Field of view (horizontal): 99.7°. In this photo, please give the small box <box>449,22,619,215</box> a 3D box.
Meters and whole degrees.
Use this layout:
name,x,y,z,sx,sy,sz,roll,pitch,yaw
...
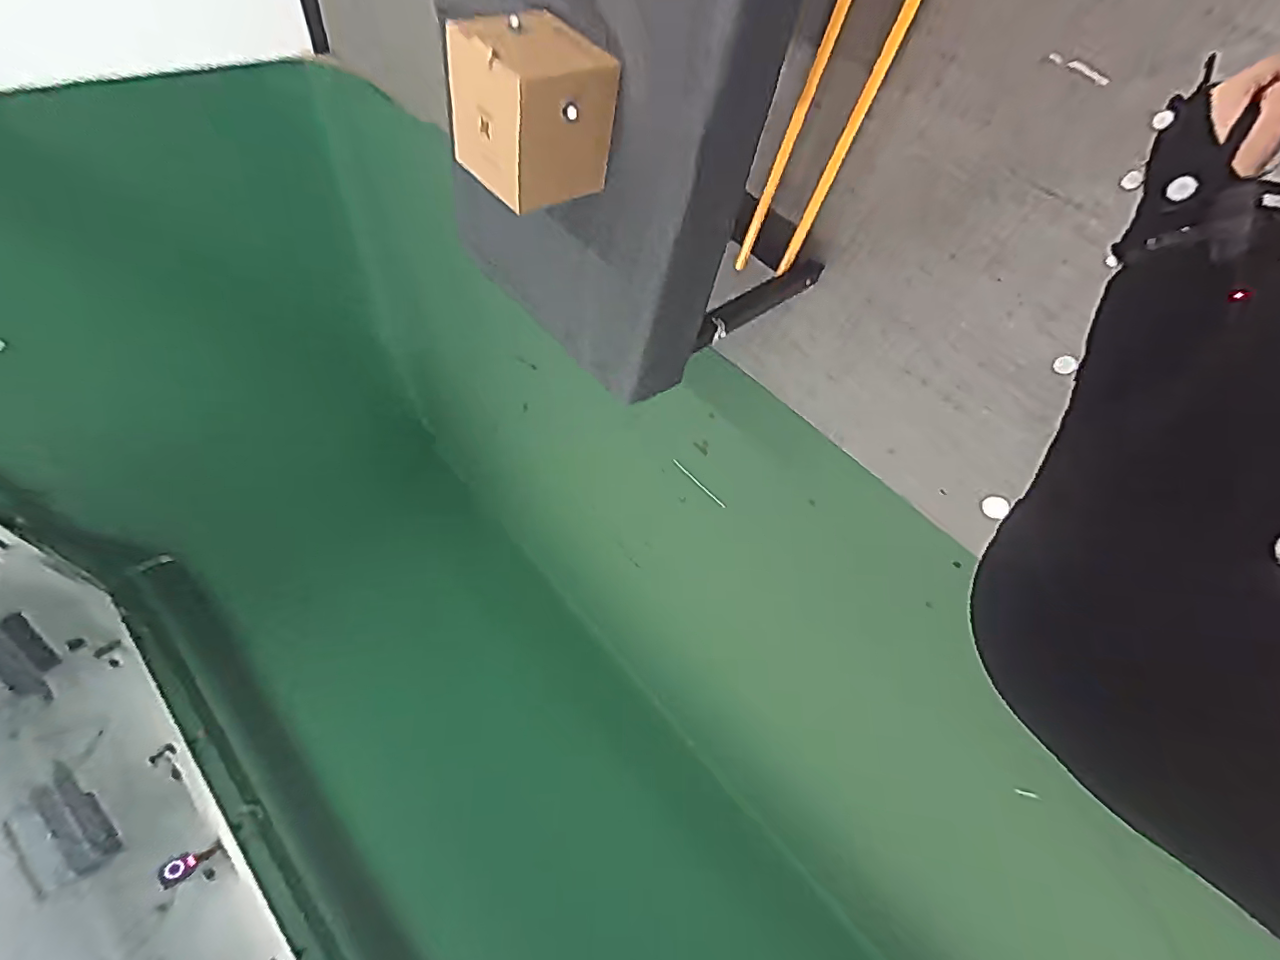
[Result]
name,x,y,z,sx,sy,sz,roll,pitch,yaw
small box,-0.150,-0.523,0.779,0.168,0.176,0.179,46,149,18
